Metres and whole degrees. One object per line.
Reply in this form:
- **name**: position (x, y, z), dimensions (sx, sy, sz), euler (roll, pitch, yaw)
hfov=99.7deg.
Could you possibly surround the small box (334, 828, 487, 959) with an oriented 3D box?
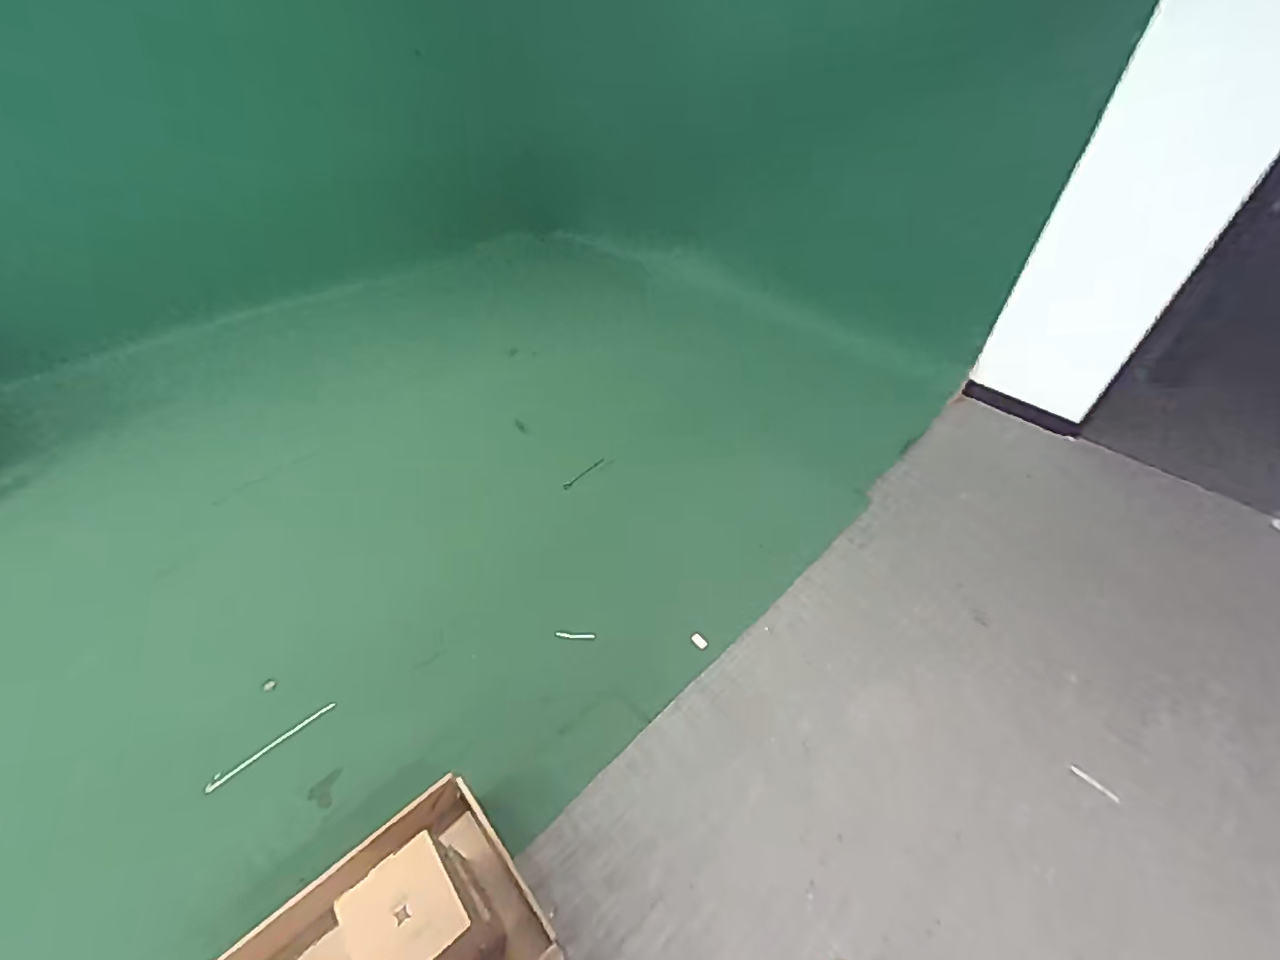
- **small box**: position (-0.386, 0.751, 0.928), dimensions (0.168, 0.176, 0.179), euler (-31, 55, -27)
